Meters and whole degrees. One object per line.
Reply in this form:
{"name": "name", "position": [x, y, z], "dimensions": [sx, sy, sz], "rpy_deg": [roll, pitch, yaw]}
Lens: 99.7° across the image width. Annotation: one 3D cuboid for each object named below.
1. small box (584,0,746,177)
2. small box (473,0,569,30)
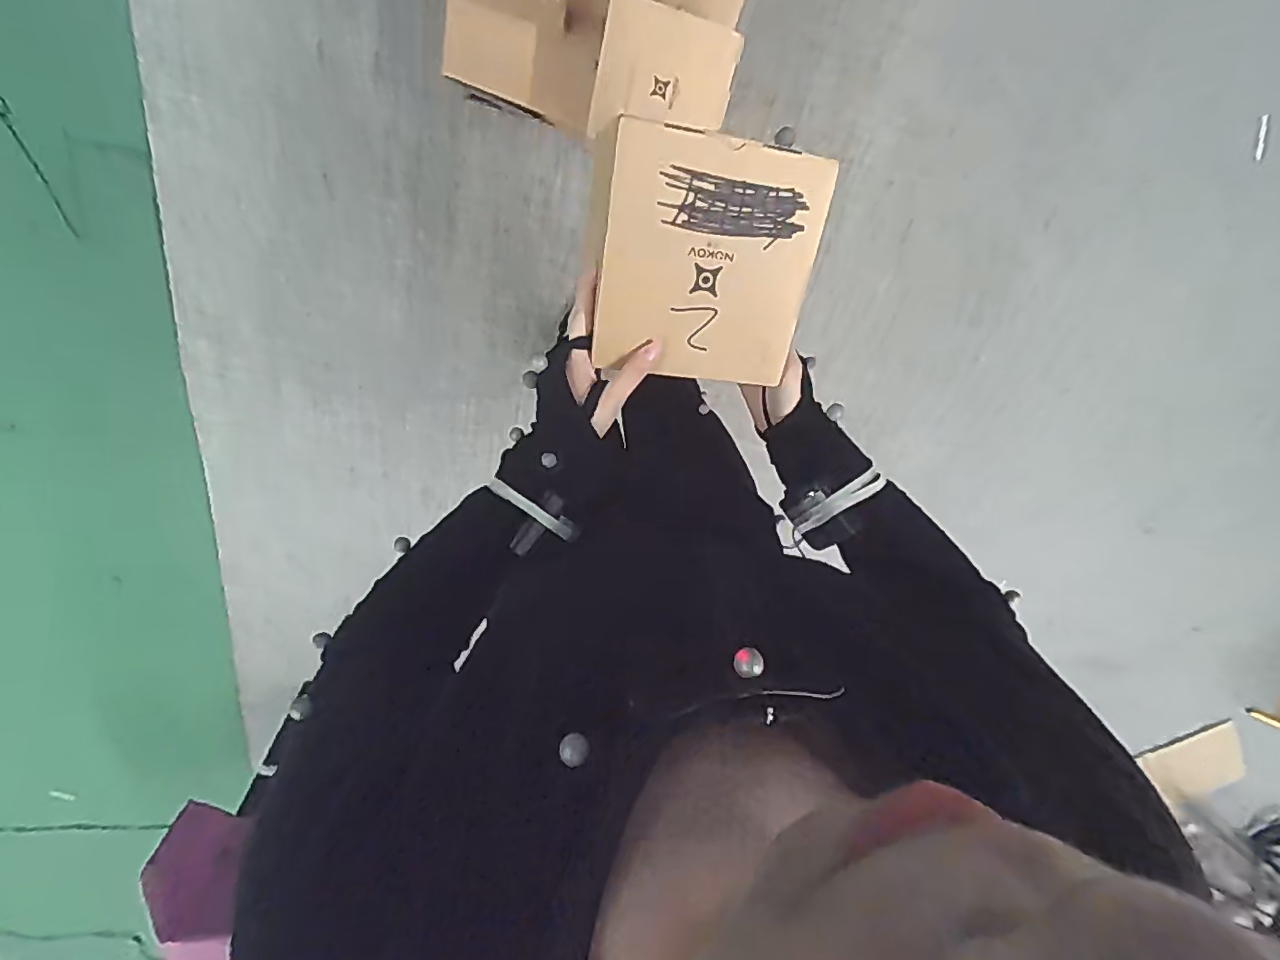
{"name": "small box", "position": [0.022, -0.547, 0.765], "dimensions": [0.179, 0.176, 0.168], "rpy_deg": [11, 118, -12]}
{"name": "small box", "position": [-0.158, -0.698, 0.658], "dimensions": [0.168, 0.176, 0.179], "rpy_deg": [12, 117, -12]}
